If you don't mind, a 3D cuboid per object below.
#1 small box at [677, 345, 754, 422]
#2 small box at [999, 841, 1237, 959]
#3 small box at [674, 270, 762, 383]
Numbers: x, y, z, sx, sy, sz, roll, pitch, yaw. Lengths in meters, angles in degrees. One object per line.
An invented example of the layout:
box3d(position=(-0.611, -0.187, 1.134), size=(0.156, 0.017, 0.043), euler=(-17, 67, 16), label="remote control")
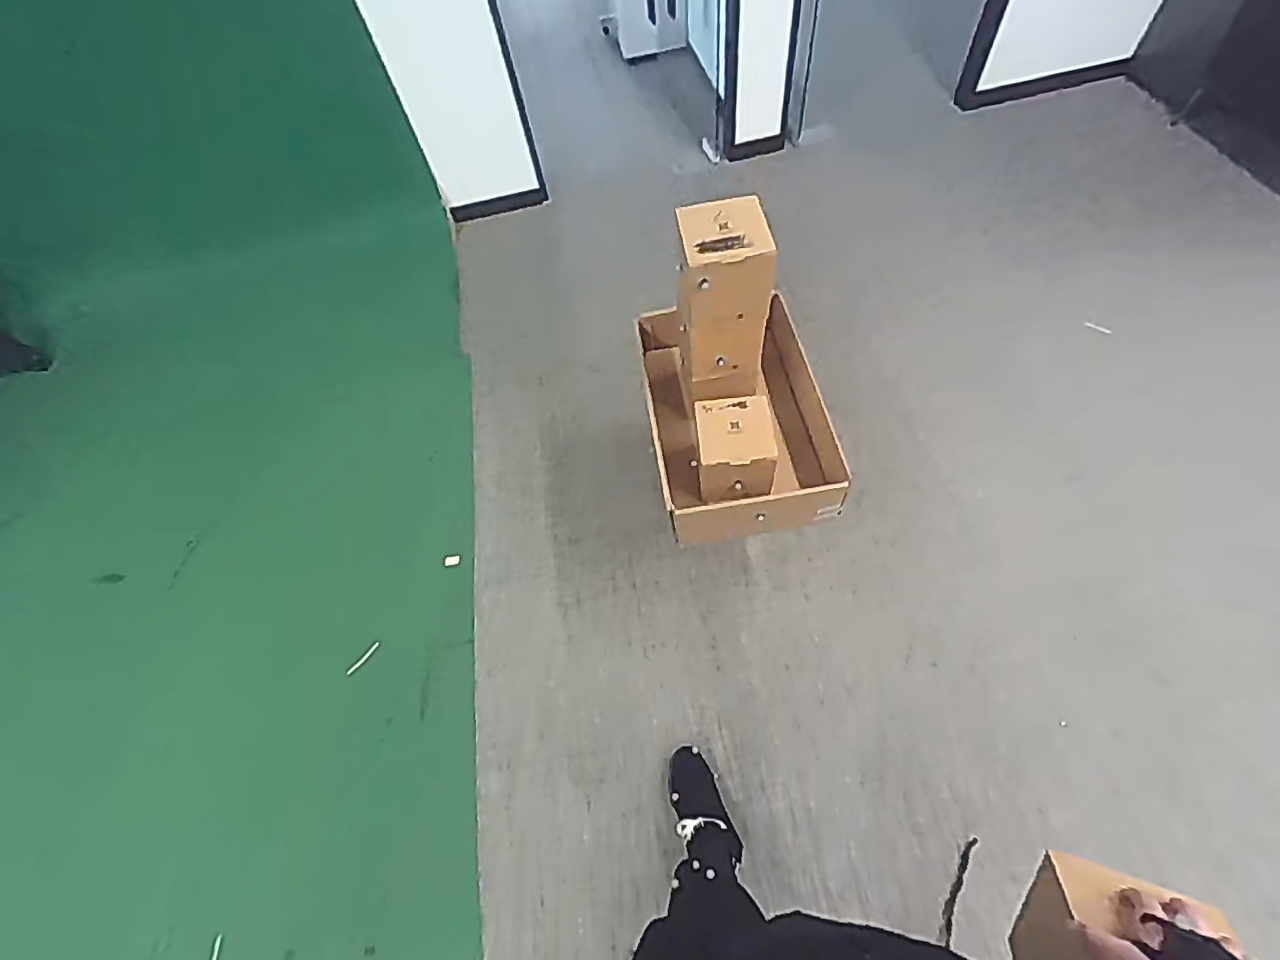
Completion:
box3d(position=(0.188, -0.275, 1.396), size=(0.168, 0.176, 0.179), euler=(-10, 60, 1), label="small box")
box3d(position=(0.522, 0.559, 0.589), size=(0.168, 0.176, 0.179), euler=(12, 19, 19), label="small box")
box3d(position=(0.173, -0.352, 1.255), size=(0.168, 0.176, 0.179), euler=(-10, 61, 0), label="small box")
